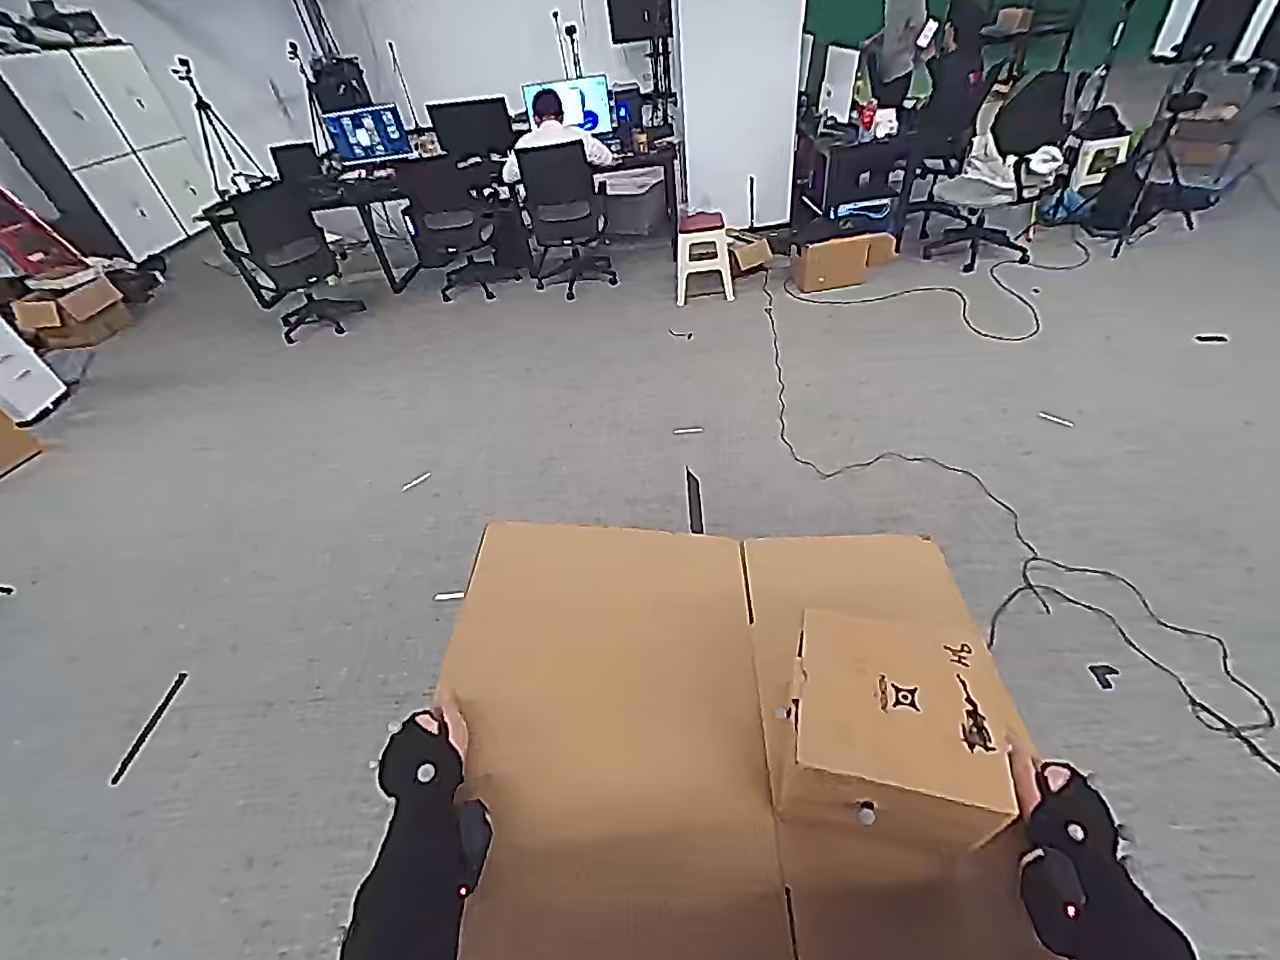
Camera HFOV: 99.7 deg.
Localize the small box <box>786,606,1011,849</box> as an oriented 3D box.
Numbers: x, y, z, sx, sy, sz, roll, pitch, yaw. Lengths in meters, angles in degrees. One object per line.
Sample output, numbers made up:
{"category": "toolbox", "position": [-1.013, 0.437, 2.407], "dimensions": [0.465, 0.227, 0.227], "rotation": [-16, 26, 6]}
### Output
{"category": "small box", "position": [0.250, 0.258, 0.568], "dimensions": [0.179, 0.176, 0.168], "rotation": [6, 45, 16]}
